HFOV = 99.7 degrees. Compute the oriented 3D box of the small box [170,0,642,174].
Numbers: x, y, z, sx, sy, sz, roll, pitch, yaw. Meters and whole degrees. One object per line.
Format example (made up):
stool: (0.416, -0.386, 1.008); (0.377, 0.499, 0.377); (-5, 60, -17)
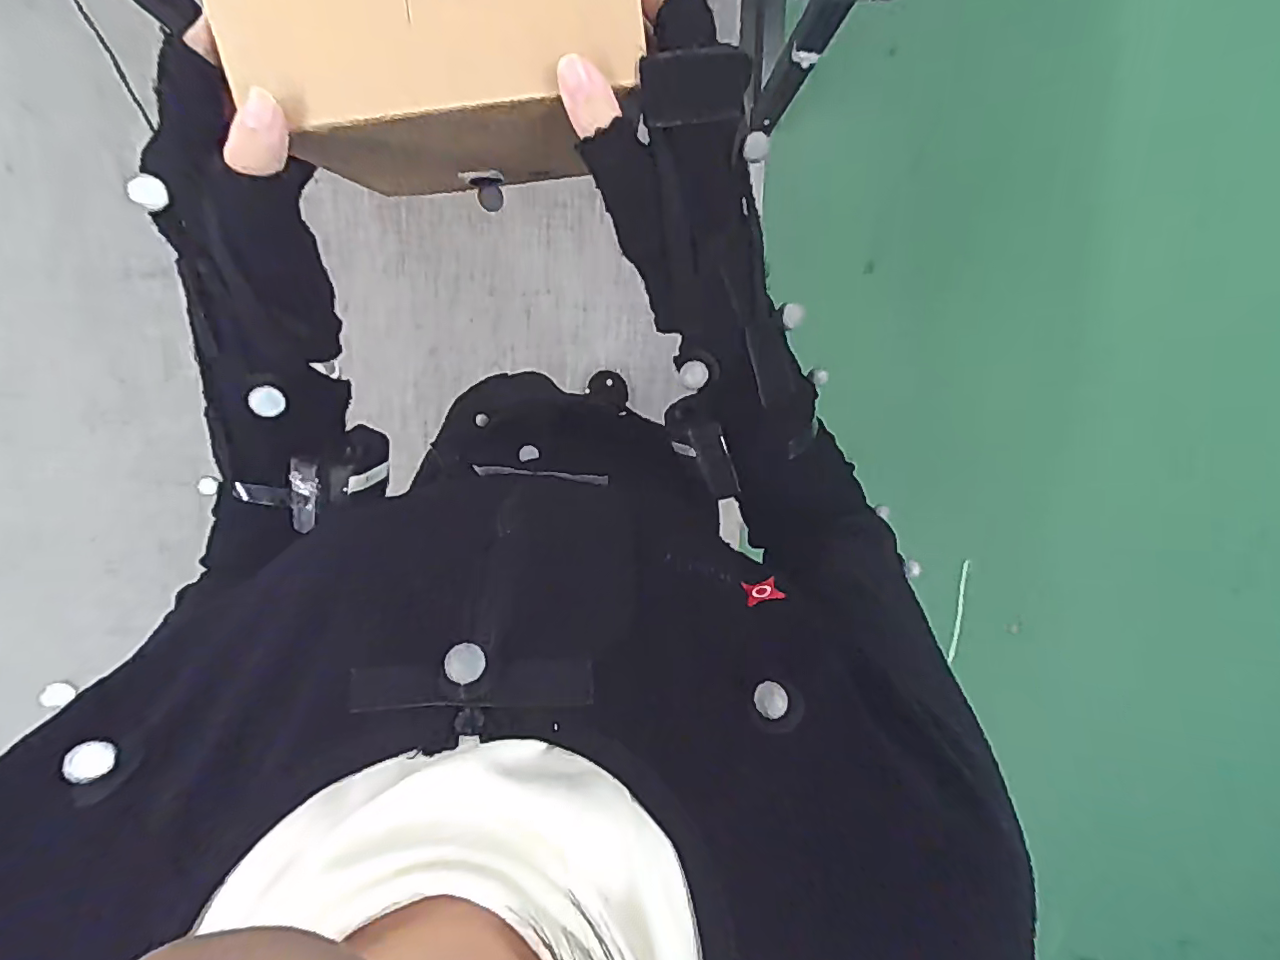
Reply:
small box: (-0.095, -0.261, 0.245); (0.168, 0.176, 0.179); (-8, 111, -1)
